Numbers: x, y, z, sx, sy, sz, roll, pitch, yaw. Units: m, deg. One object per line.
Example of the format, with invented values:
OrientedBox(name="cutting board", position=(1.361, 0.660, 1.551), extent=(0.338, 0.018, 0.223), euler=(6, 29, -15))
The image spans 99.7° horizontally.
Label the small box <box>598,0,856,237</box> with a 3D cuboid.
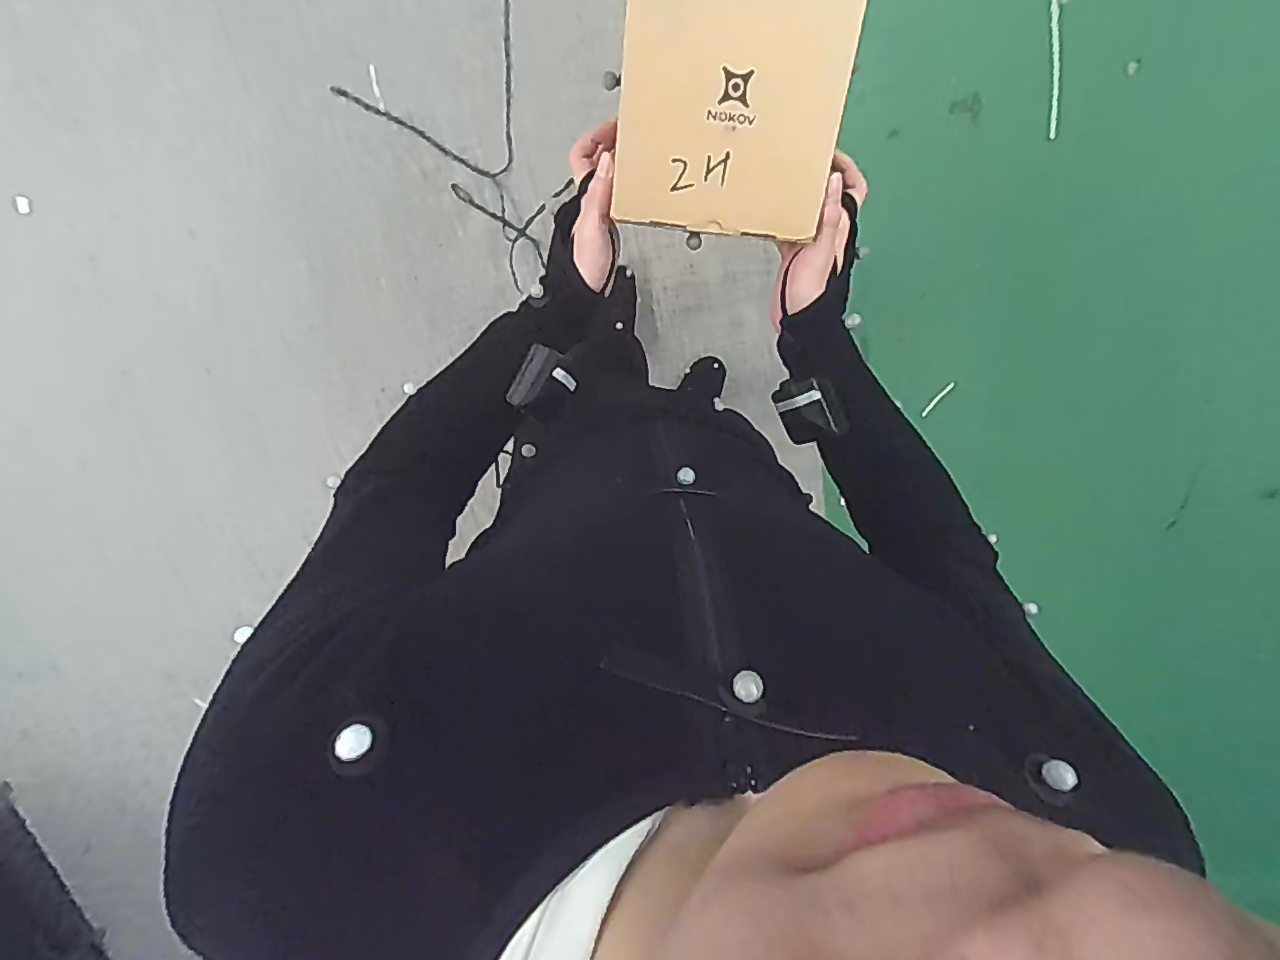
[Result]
OrientedBox(name="small box", position=(0.055, -0.309, 0.454), extent=(0.168, 0.176, 0.179), euler=(5, 114, -3))
